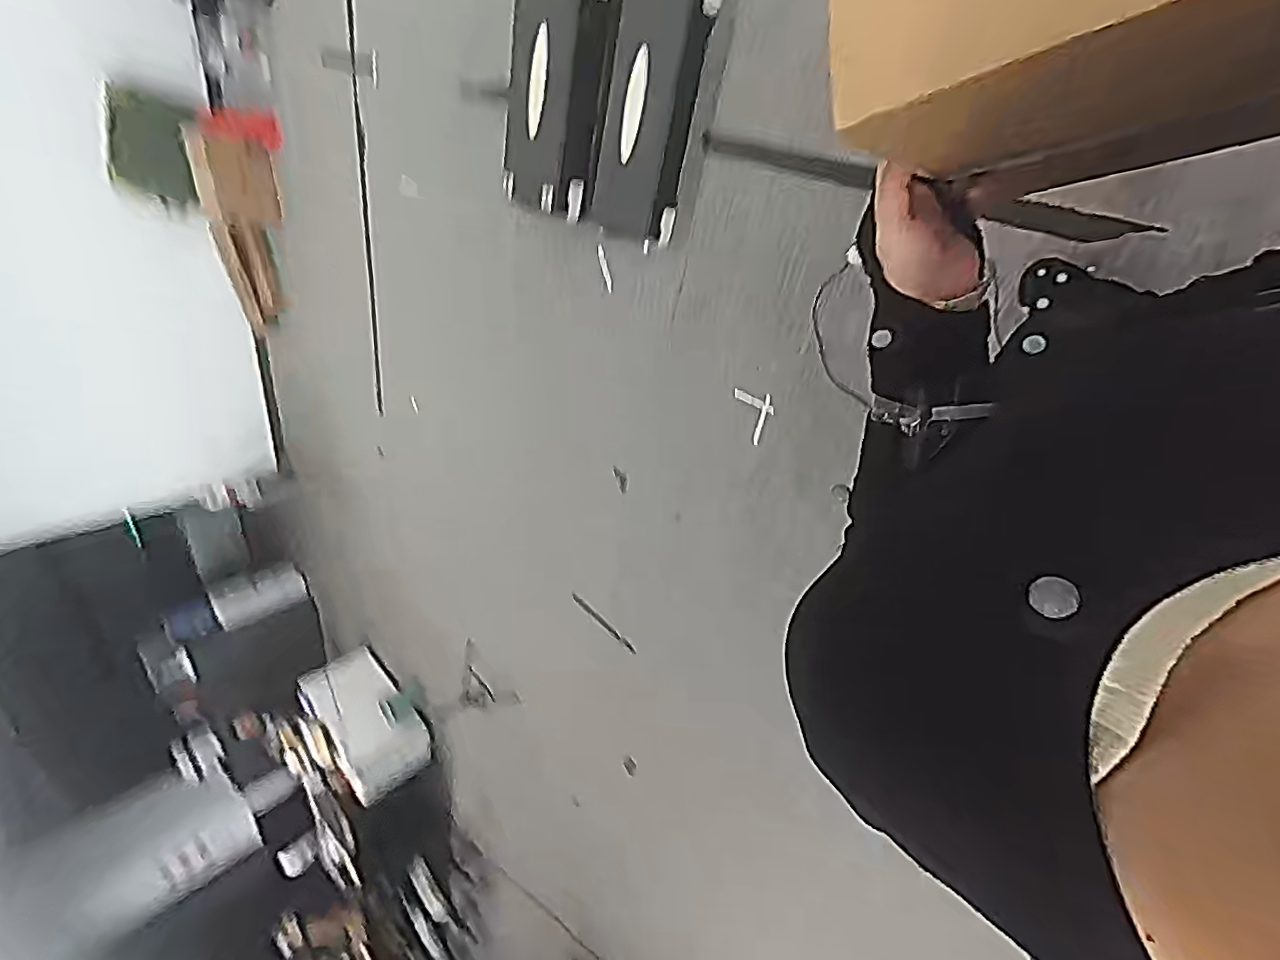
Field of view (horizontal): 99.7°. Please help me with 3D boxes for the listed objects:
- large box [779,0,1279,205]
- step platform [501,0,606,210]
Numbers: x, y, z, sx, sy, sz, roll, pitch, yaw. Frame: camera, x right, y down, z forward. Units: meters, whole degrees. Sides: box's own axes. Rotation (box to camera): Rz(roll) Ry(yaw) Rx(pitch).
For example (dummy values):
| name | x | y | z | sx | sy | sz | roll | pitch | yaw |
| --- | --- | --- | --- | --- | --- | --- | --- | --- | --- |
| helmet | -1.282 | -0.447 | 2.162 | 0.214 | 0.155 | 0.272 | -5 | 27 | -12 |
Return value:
| name | x | y | z | sx | sy | sz | roll | pitch | yaw |
| --- | --- | --- | --- | --- | --- | --- | --- | --- | --- |
| large box | 0.293 | -0.335 | 0.190 | 0.408 | 0.320 | 0.320 | 4 | 108 | 45 |
| step platform | -0.224 | -1.191 | 1.600 | 0.286 | 0.204 | 0.684 | 39 | 129 | 26 |
